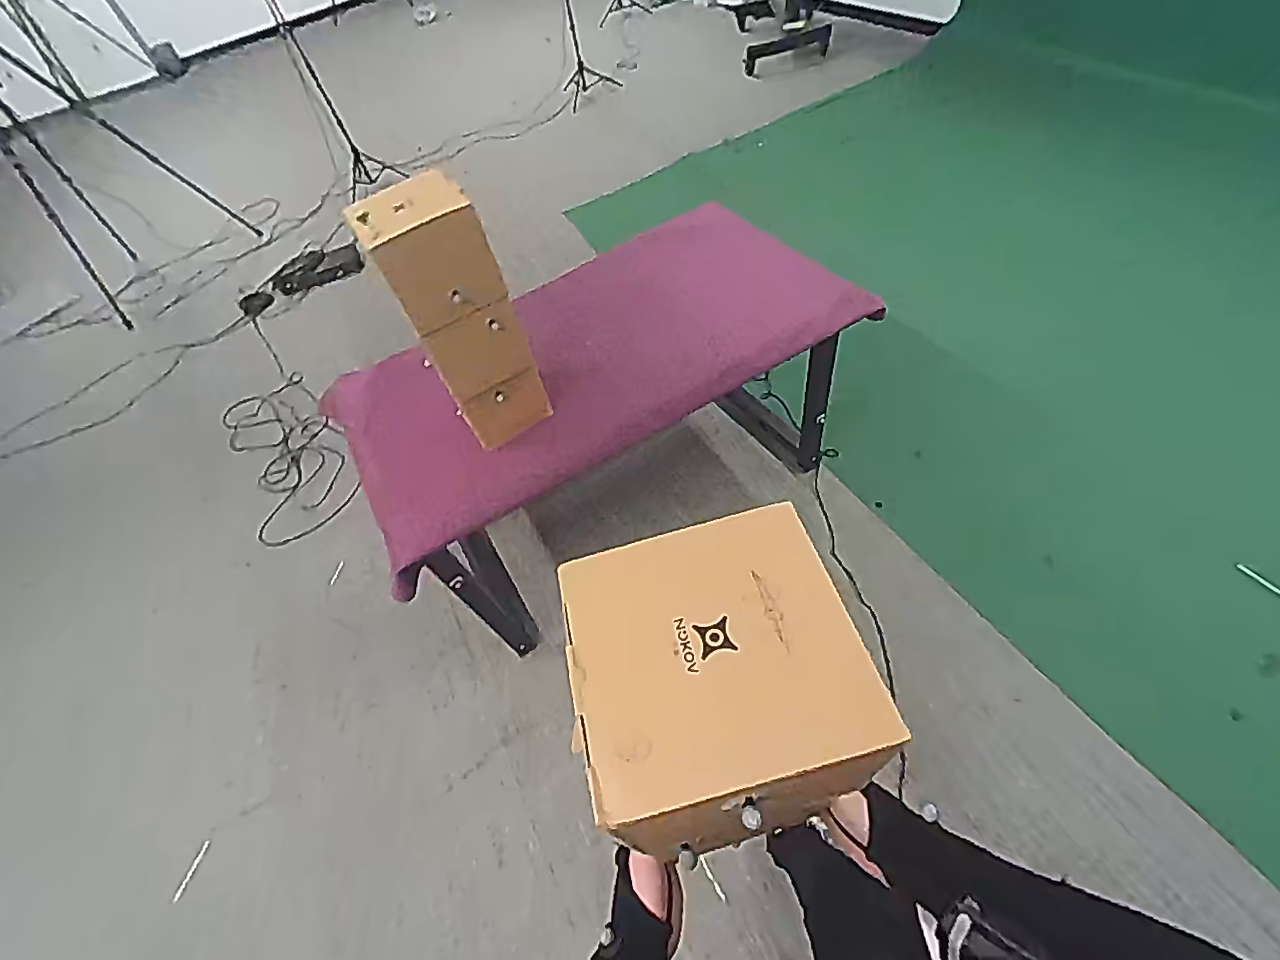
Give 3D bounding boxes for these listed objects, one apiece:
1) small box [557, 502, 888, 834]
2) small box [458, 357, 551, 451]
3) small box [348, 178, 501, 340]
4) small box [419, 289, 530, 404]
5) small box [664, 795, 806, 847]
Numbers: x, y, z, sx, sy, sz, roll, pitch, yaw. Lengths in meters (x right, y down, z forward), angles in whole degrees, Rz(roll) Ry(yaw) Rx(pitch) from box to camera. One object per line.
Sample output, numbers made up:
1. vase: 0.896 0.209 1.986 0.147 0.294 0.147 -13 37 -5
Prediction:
1. small box: 0.052 0.147 0.405 0.179 0.176 0.168 -15 52 0
2. small box: -0.315 -0.200 1.202 0.179 0.176 0.168 -33 56 -11
3. small box: -0.358 -0.377 0.928 0.179 0.176 0.168 -31 55 -11
4. small box: -0.333 -0.285 1.061 0.179 0.176 0.168 -31 55 -10
5. small box: 0.098 0.334 0.670 0.179 0.176 0.168 -16 51 -2
